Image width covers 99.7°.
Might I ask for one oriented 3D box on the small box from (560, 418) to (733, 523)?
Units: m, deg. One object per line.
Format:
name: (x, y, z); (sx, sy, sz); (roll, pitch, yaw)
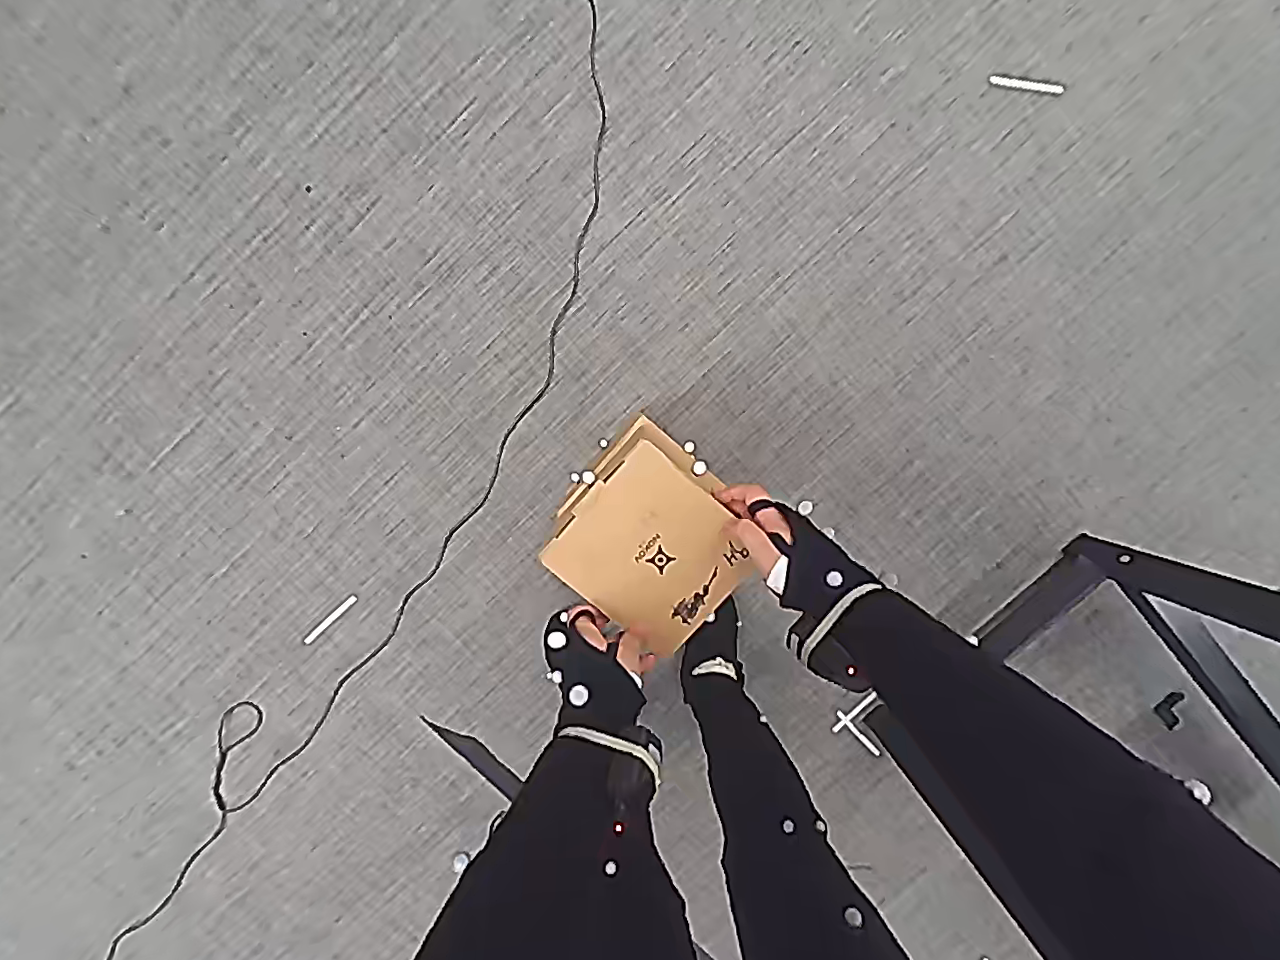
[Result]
small box: (0.007, 0.026, 0.791); (0.168, 0.176, 0.179); (40, 94, -7)

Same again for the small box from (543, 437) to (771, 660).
small box: (0.017, 0.064, 0.627); (0.179, 0.176, 0.168); (41, 97, -6)
